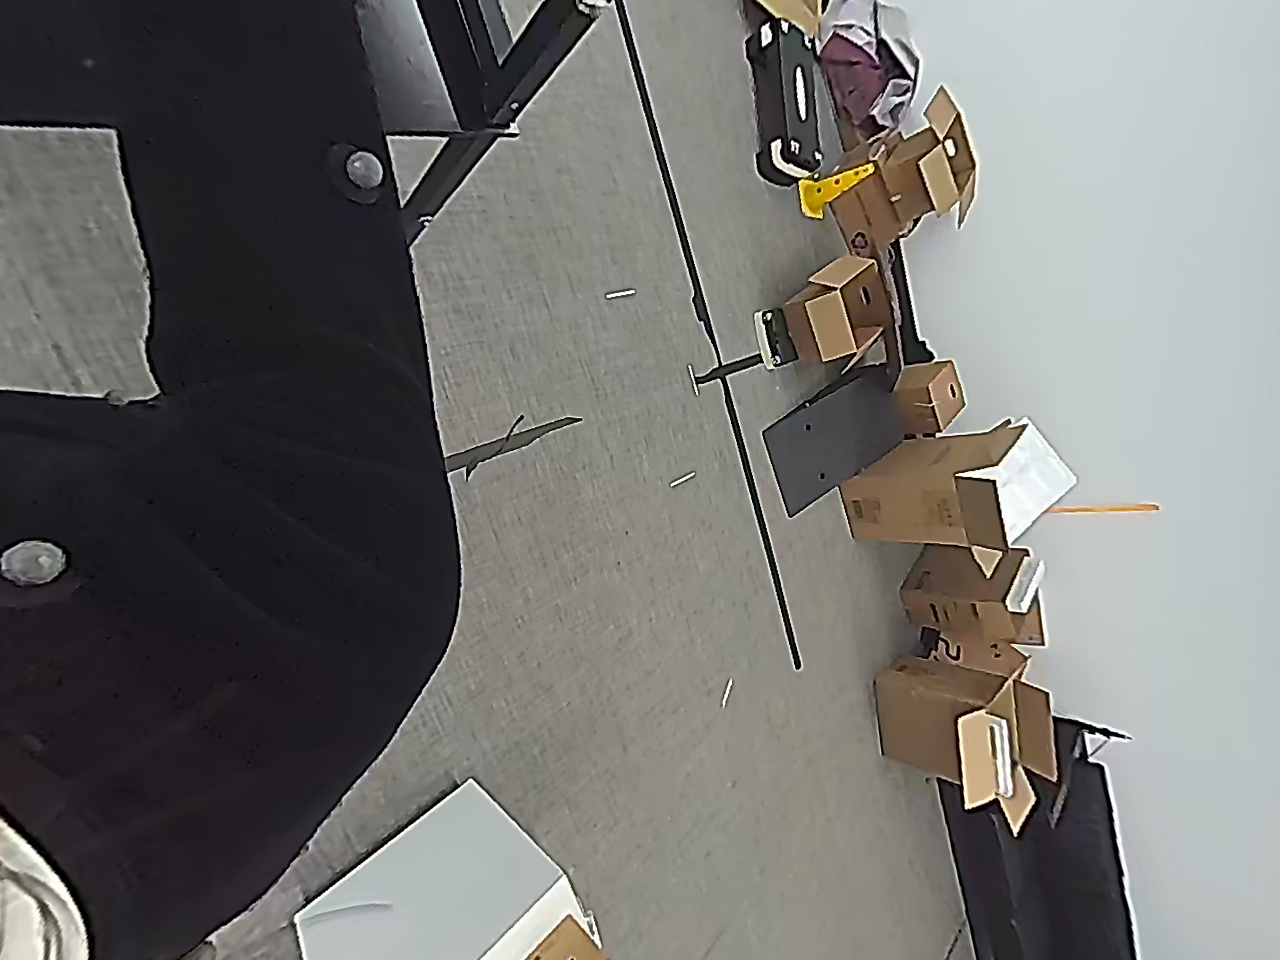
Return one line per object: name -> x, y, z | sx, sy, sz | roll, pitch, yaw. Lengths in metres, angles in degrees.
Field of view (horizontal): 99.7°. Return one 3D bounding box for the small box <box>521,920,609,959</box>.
small box -> -0.153, 1.101, 1.157 | 0.168, 0.176, 0.179 | -26, 106, -37
